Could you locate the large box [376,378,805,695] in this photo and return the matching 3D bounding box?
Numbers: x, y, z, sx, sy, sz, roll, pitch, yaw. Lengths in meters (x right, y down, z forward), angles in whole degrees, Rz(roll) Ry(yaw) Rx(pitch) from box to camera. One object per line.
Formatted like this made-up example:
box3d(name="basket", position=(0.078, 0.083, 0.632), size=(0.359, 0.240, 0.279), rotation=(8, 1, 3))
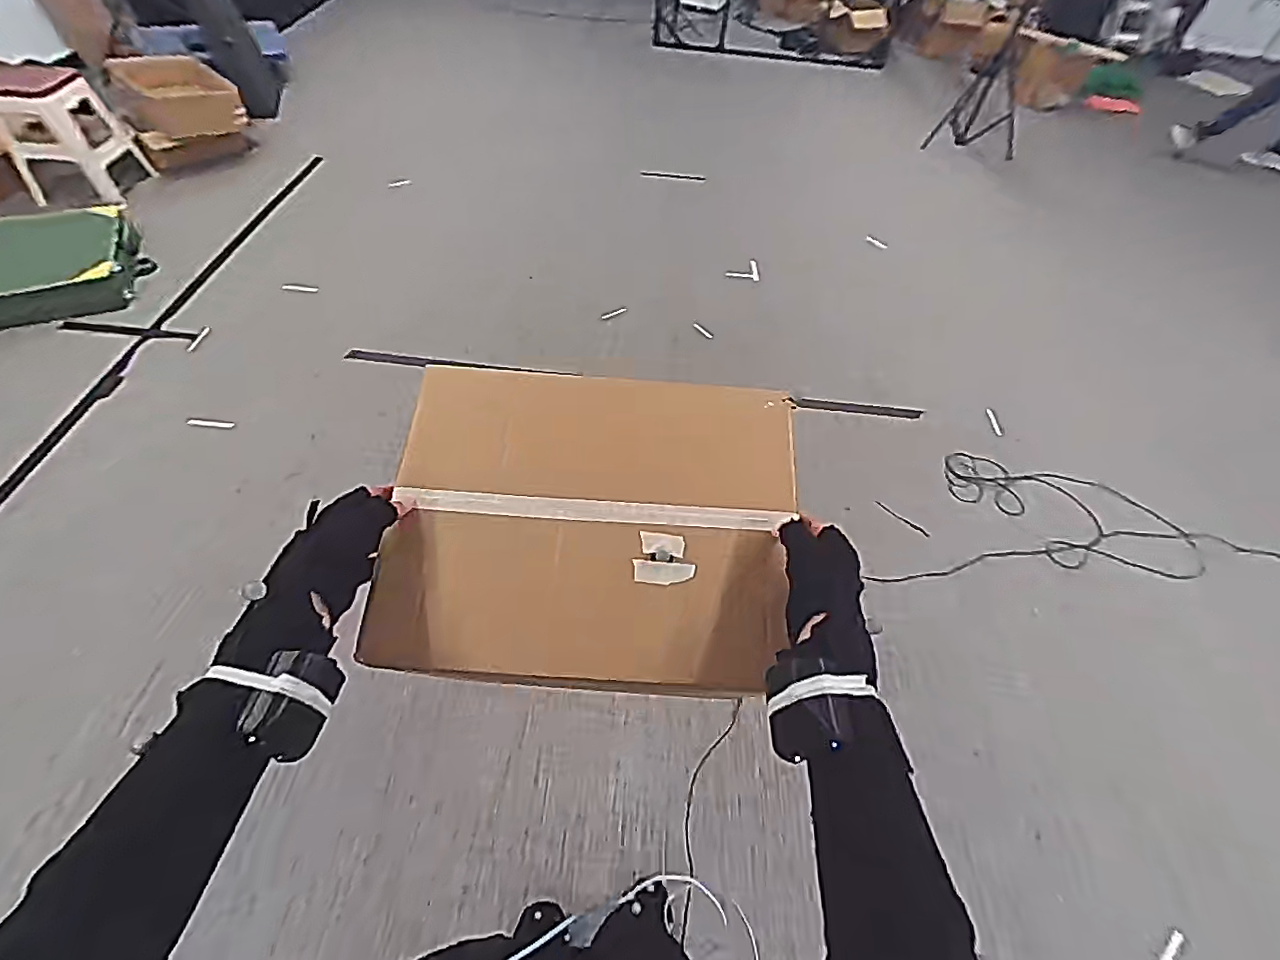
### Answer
box3d(name="large box", position=(-0.046, 0.095, 0.689), size=(0.408, 0.320, 0.320), rotation=(5, 67, -1))
